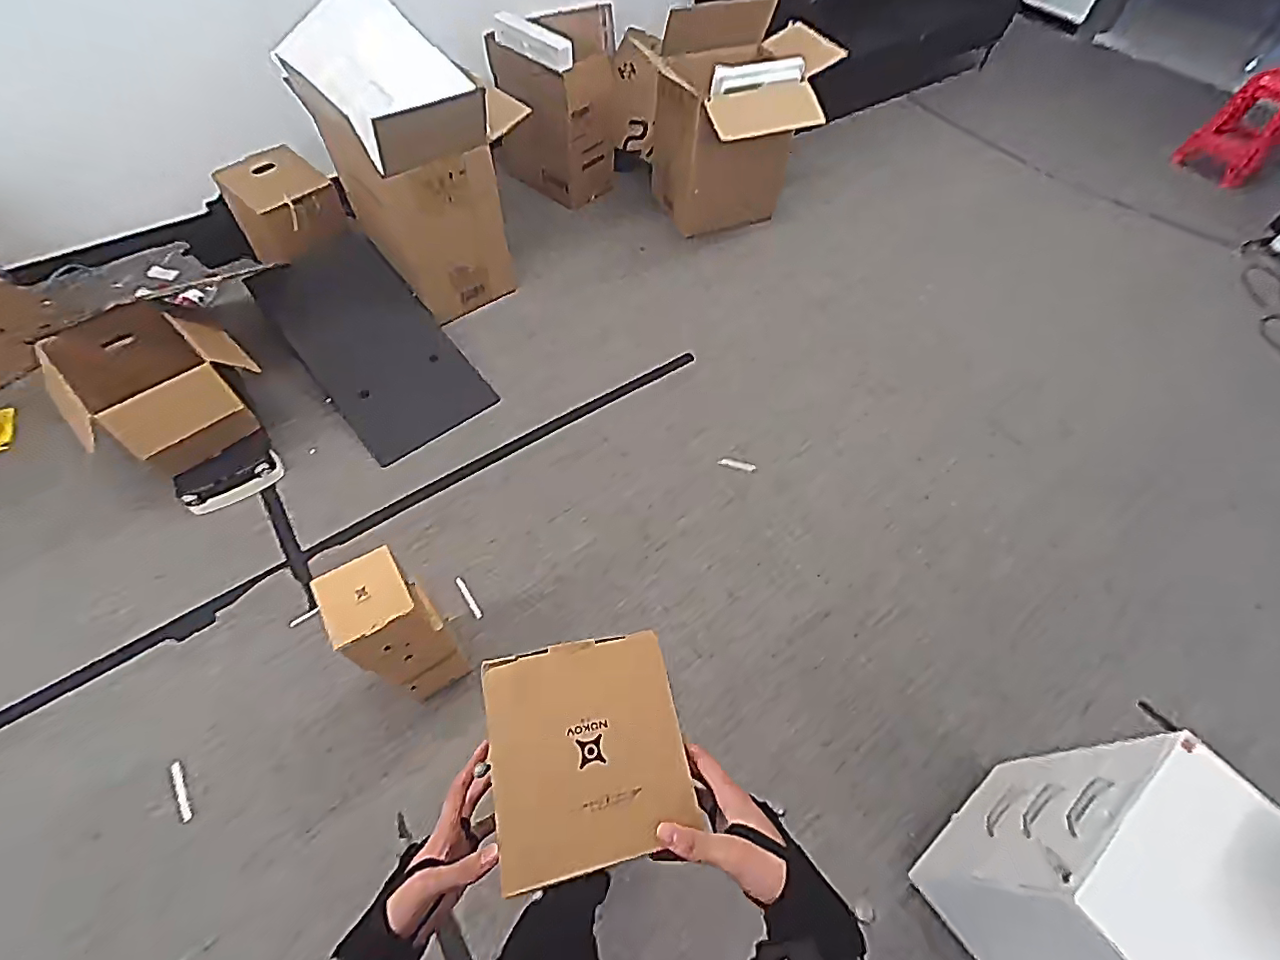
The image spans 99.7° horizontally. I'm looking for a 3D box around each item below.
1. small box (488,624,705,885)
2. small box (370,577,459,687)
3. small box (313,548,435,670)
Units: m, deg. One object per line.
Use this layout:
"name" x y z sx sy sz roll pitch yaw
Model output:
"small box" -0.058 0.258 0.523 0.168 0.176 0.179 -5 61 -17
"small box" -0.572 0.377 1.324 0.179 0.176 0.168 -30 63 -22
"small box" -0.577 0.287 1.188 0.168 0.176 0.179 -28 63 -20
